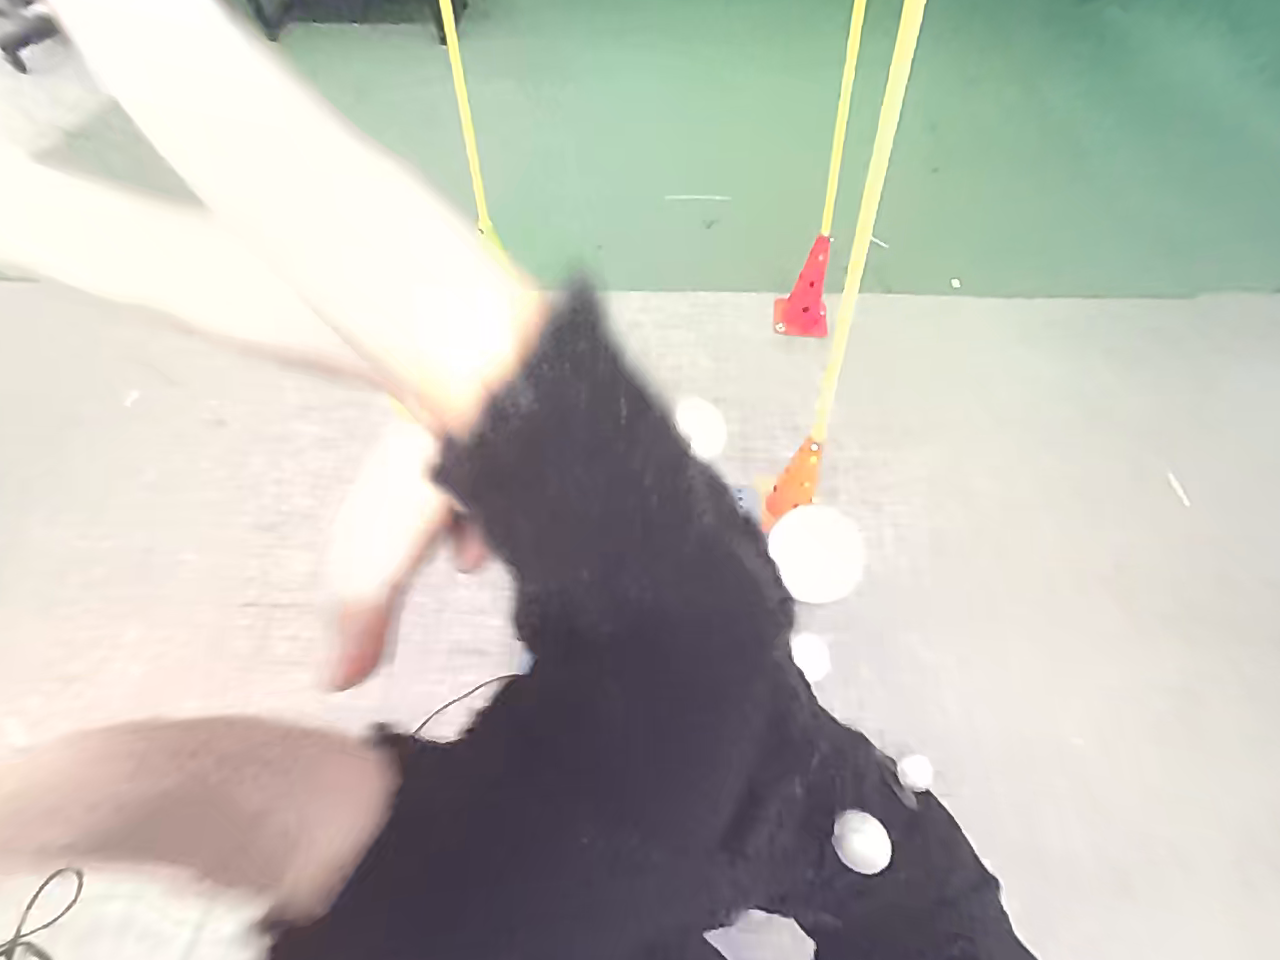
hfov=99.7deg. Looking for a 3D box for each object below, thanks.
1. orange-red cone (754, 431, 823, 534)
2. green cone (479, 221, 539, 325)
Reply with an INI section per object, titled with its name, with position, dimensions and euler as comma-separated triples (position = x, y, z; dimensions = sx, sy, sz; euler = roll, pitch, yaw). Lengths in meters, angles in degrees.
[orange-red cone]
position = 0.444, -0.014, 1.506
dimensions = 0.199, 0.360, 0.198
euler = 1, 58, 3
[green cone]
position = -0.517, -0.777, 1.990
dimensions = 0.202, 0.368, 0.200
euler = 5, 58, 5
